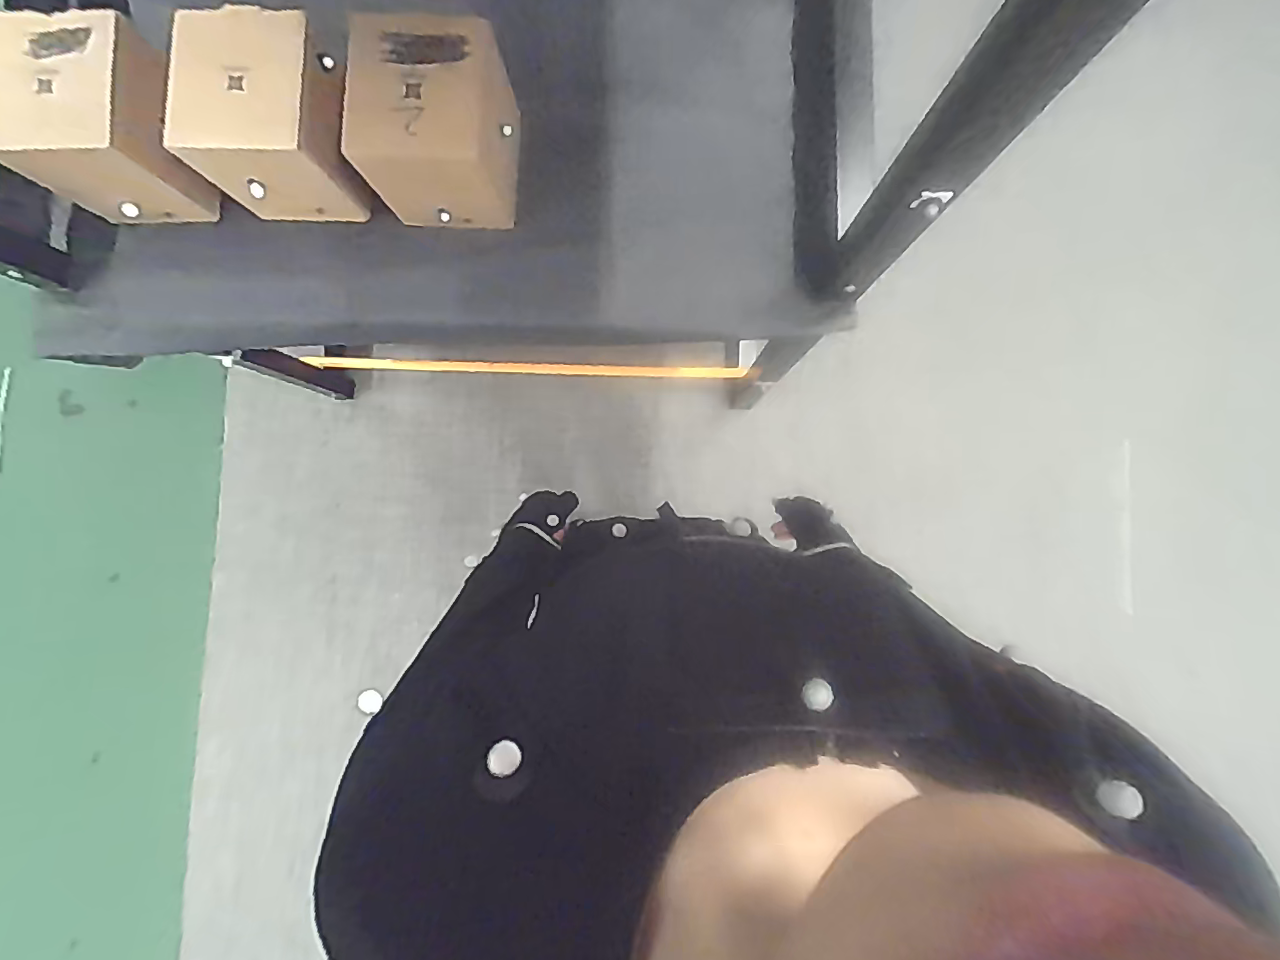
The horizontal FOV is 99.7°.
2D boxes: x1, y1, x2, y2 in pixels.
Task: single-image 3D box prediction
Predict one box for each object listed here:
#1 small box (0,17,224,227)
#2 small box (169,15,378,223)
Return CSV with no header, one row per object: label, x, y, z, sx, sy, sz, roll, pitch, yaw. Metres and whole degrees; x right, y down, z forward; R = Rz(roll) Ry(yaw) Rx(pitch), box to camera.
small box,-0.702,-0.470,0.731,0.168,0.176,0.179,-1,87,2
small box,-0.475,-0.469,0.727,0.168,0.176,0.179,2,86,2
